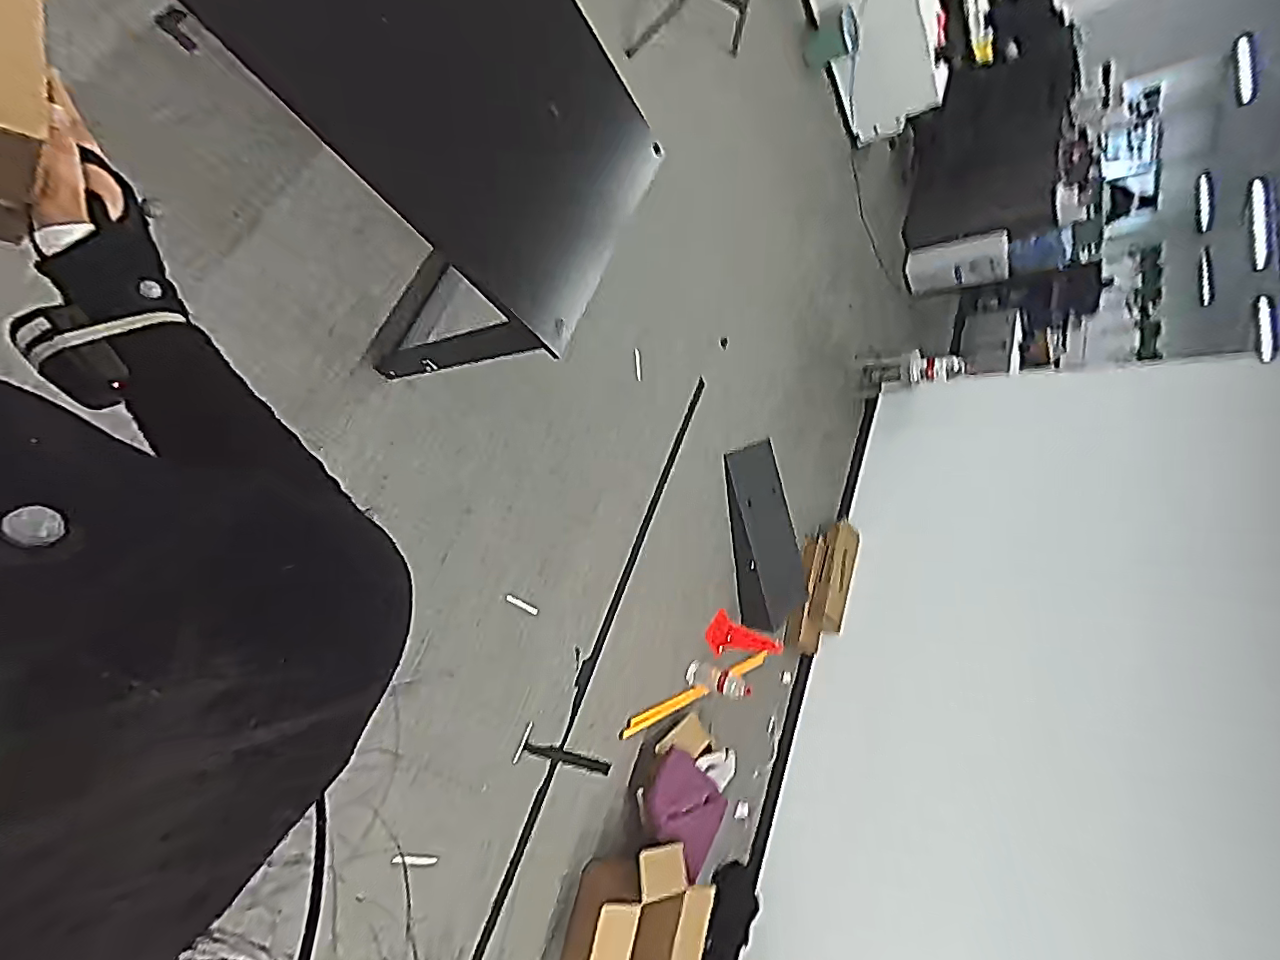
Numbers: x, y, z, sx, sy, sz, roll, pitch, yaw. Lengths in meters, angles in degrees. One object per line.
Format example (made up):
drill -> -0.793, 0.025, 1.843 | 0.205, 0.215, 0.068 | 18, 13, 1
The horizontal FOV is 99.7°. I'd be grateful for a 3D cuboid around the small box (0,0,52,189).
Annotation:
small box -> -0.389, -0.257, 0.236 | 0.168, 0.176, 0.179 | -5, 103, -49
